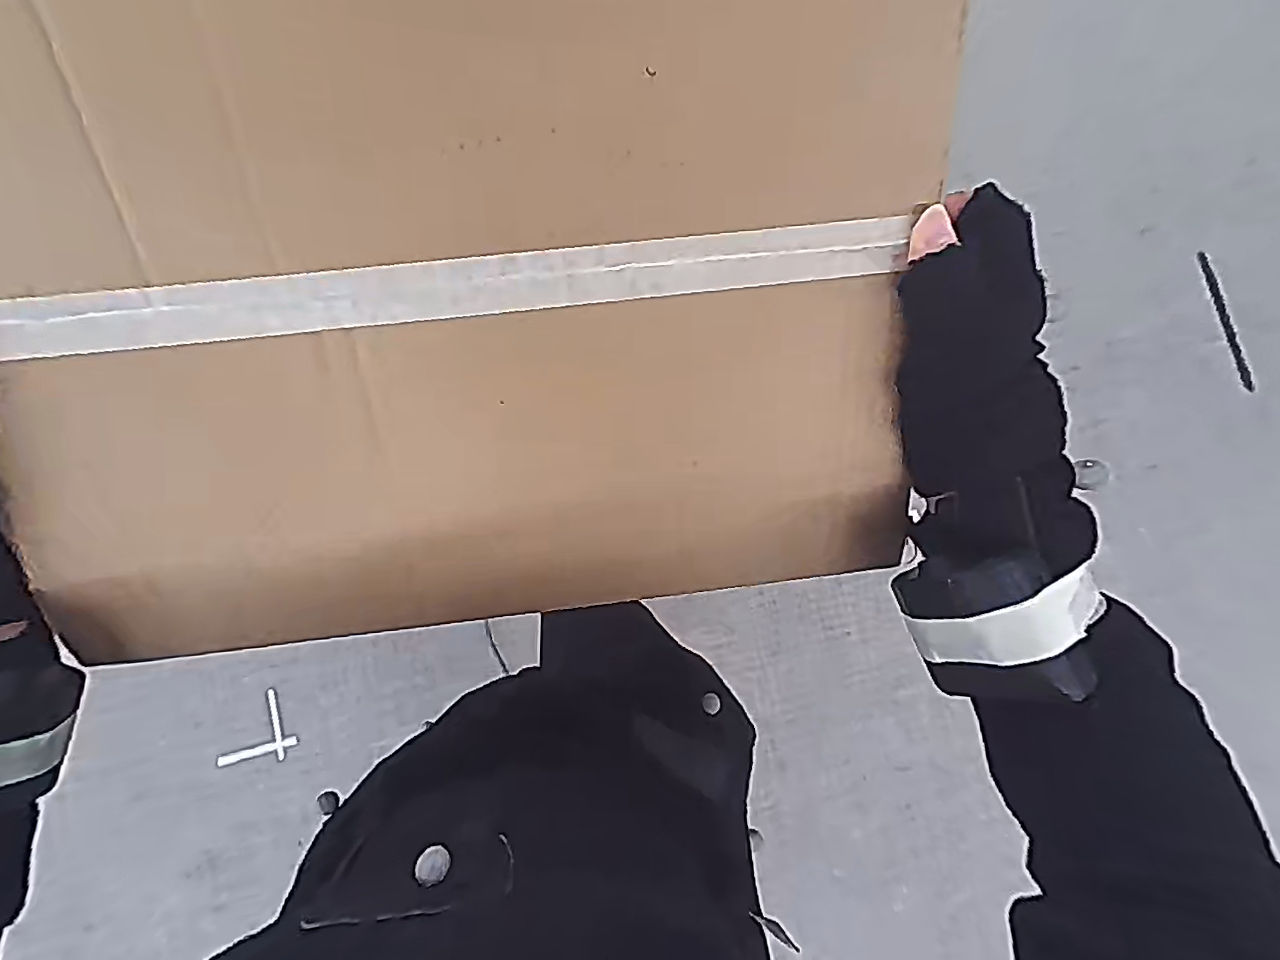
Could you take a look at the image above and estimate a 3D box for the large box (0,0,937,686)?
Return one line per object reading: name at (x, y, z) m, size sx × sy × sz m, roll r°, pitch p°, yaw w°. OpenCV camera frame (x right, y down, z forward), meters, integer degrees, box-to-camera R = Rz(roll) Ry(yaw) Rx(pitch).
large box at (-0.094, -0.118, 0.360) m, size 0.408 × 0.320 × 0.320 m, roll -7°, pitch 113°, yaw -3°
